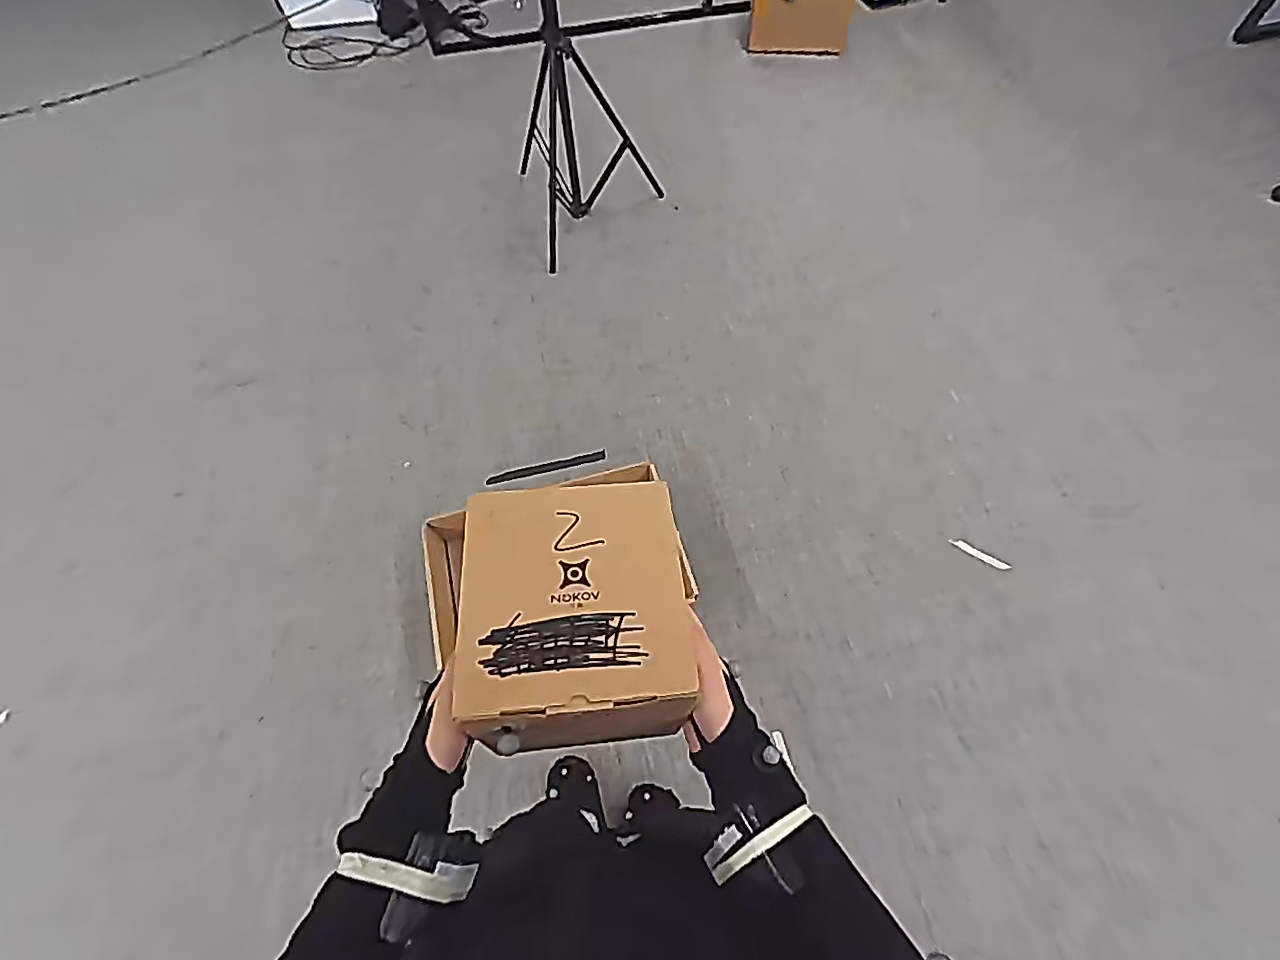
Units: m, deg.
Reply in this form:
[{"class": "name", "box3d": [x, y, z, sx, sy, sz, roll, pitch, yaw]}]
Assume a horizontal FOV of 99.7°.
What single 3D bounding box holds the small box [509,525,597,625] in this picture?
[{"class": "small box", "box3d": [-0.215, 0.244, 1.364, 0.168, 0.176, 0.179, -20, 65, -8]}]
